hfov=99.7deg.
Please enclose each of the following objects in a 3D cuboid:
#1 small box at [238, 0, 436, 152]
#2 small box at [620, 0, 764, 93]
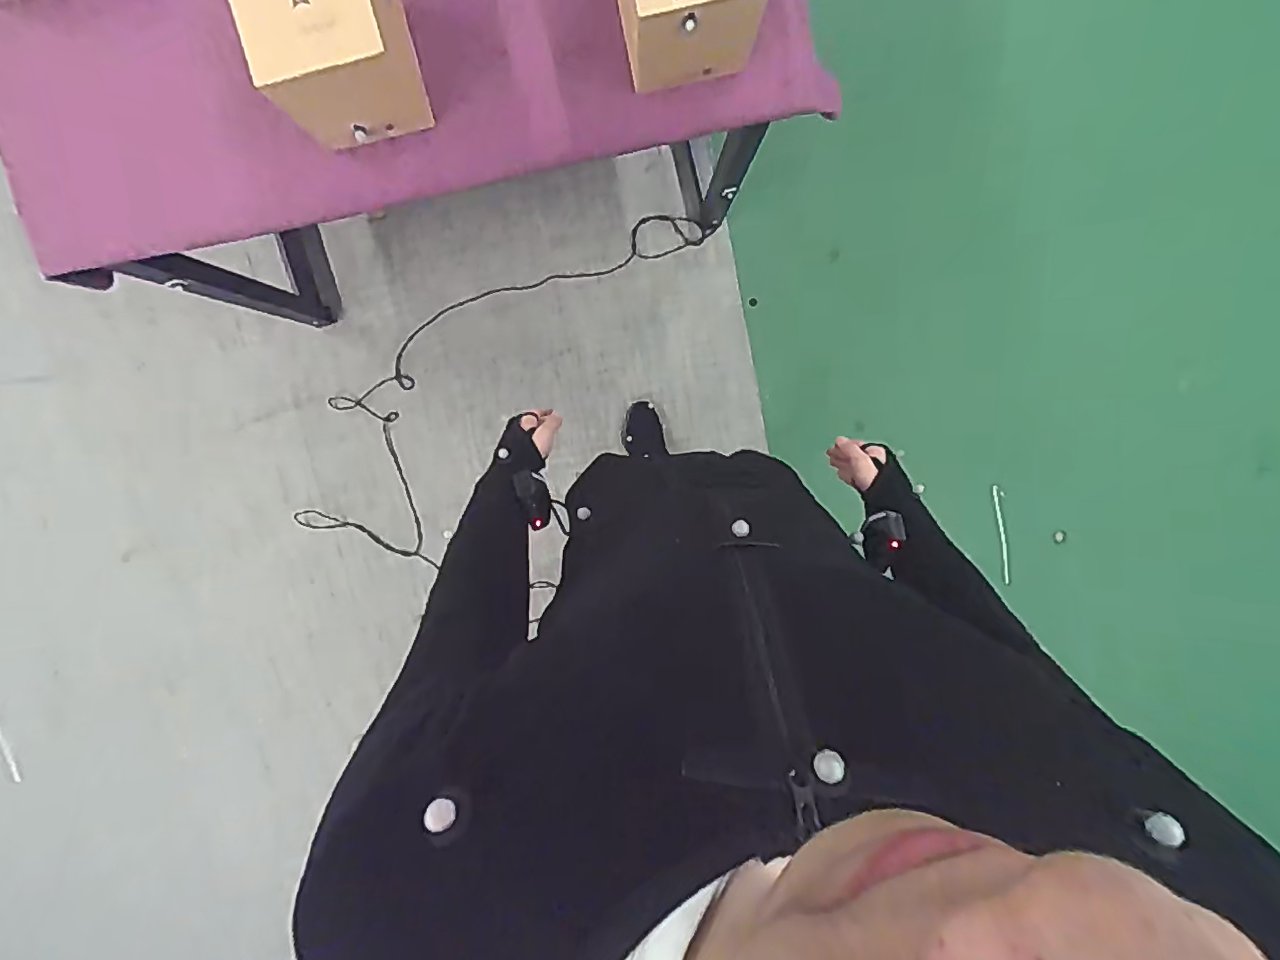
[{"bbox_3d":[-0.404,-0.590,0.735,0.168,0.176,0.179,-13,97,3],"label":"small box"},{"bbox_3d":[0.058,-0.670,0.721,0.168,0.176,0.179,-12,98,3],"label":"small box"}]
